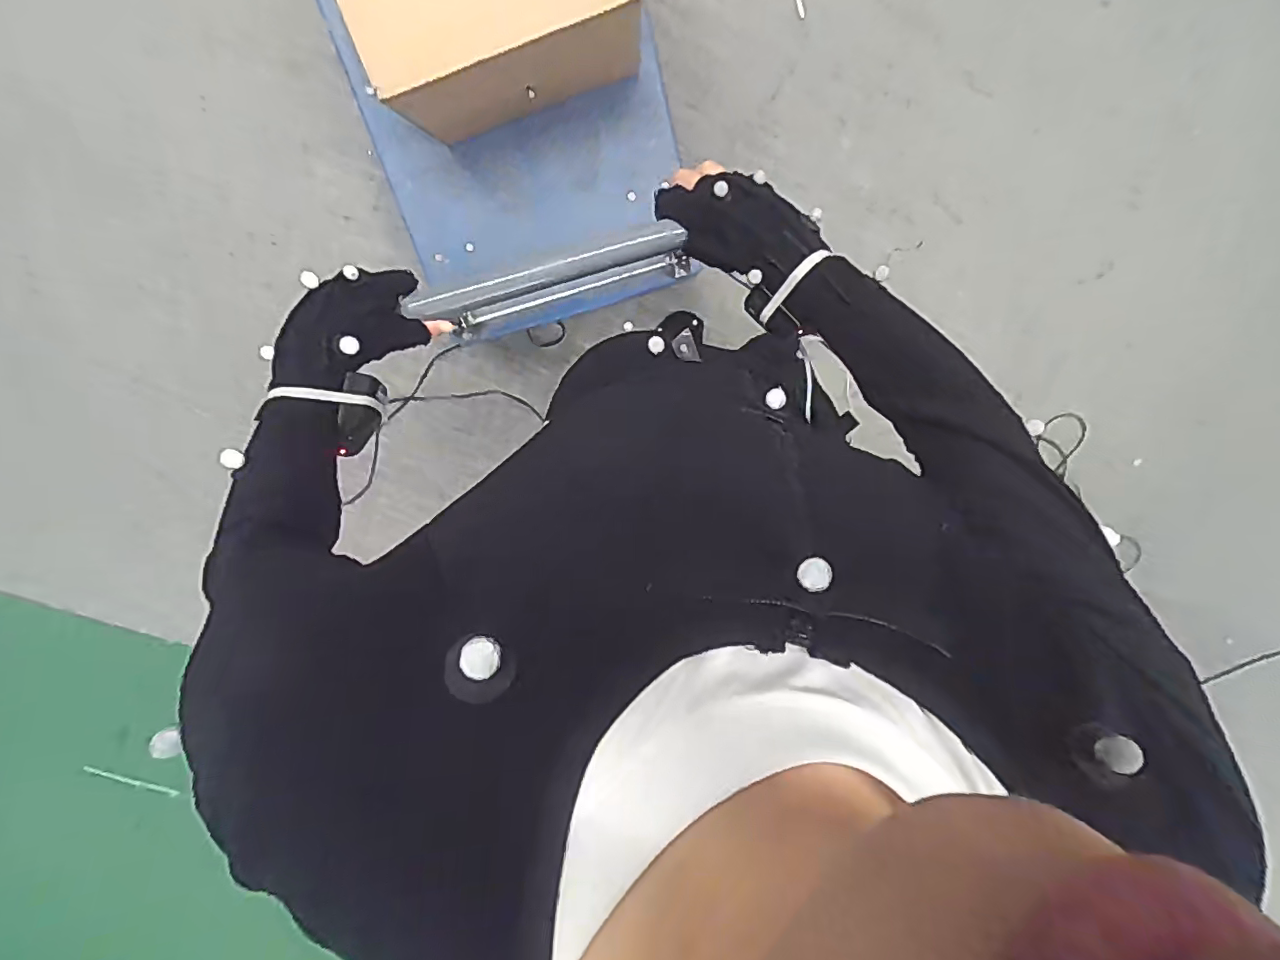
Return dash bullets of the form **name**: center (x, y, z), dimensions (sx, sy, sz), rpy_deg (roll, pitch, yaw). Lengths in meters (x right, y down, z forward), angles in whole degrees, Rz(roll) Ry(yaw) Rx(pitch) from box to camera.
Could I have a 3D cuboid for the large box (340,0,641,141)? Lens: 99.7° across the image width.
- **large box**: center (-0.234, -0.800, 0.854), dimensions (0.408, 0.320, 0.320), rpy_deg (-16, 110, 7)
